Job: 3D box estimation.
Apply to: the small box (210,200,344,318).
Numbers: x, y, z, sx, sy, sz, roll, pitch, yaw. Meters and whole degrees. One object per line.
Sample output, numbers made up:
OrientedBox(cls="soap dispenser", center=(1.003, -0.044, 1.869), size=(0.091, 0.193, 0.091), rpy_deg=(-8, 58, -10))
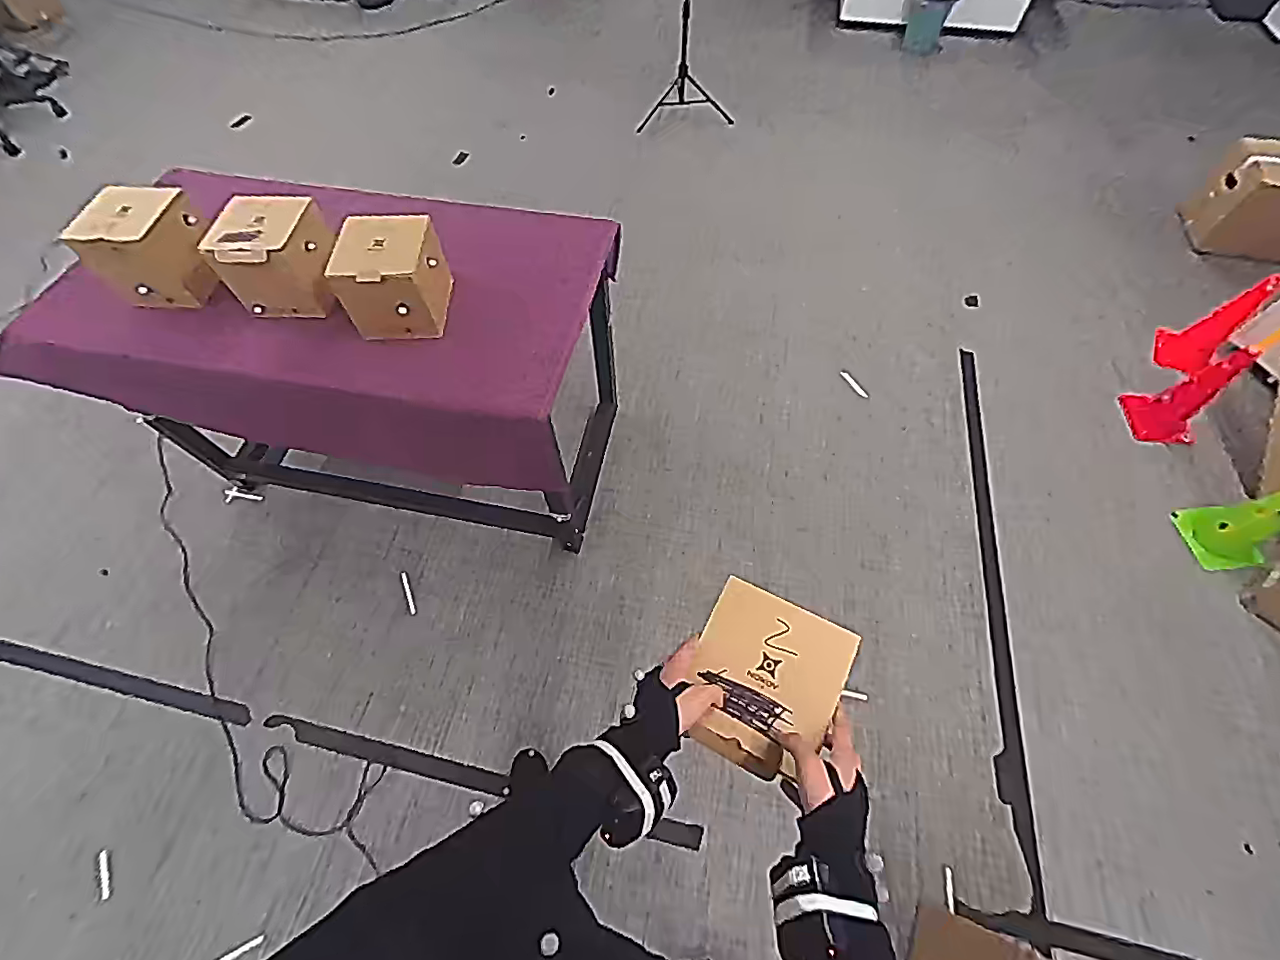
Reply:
OrientedBox(cls="small box", center=(-0.742, -0.463, 1.146), size=(0.168, 0.176, 0.179), rpy_deg=(1, 60, 1))

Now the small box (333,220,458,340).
OrientedBox(cls="small box", center=(-0.488, -0.405, 1.112), size=(0.168, 0.176, 0.179), rpy_deg=(0, 60, 0))

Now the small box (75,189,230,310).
OrientedBox(cls="small box", center=(-1.023, -0.494, 1.166), size=(0.168, 0.176, 0.179), rpy_deg=(3, 61, 3))
